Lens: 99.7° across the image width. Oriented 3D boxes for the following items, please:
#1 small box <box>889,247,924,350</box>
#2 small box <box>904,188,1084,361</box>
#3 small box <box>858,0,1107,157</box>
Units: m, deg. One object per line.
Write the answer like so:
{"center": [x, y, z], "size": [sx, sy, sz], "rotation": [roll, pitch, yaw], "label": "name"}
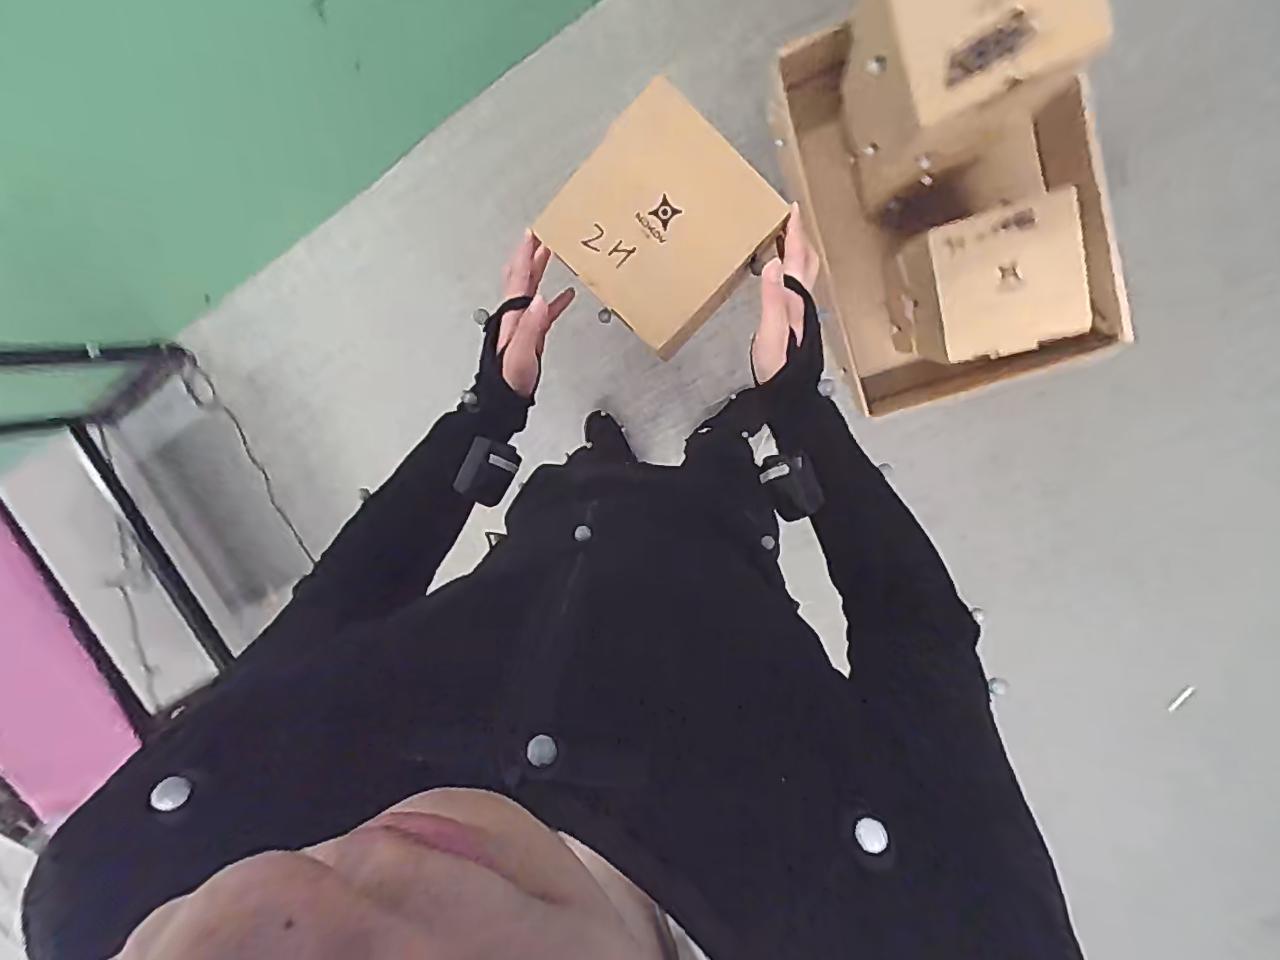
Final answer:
{"center": [0.530, -0.322, 0.914], "size": [0.179, 0.176, 0.168], "rotation": [-10, 103, 18], "label": "small box"}
{"center": [0.487, -0.280, 0.764], "size": [0.168, 0.176, 0.179], "rotation": [-11, 103, 18], "label": "small box"}
{"center": [0.342, -0.473, 0.572], "size": [0.168, 0.176, 0.179], "rotation": [-16, 101, 19], "label": "small box"}
